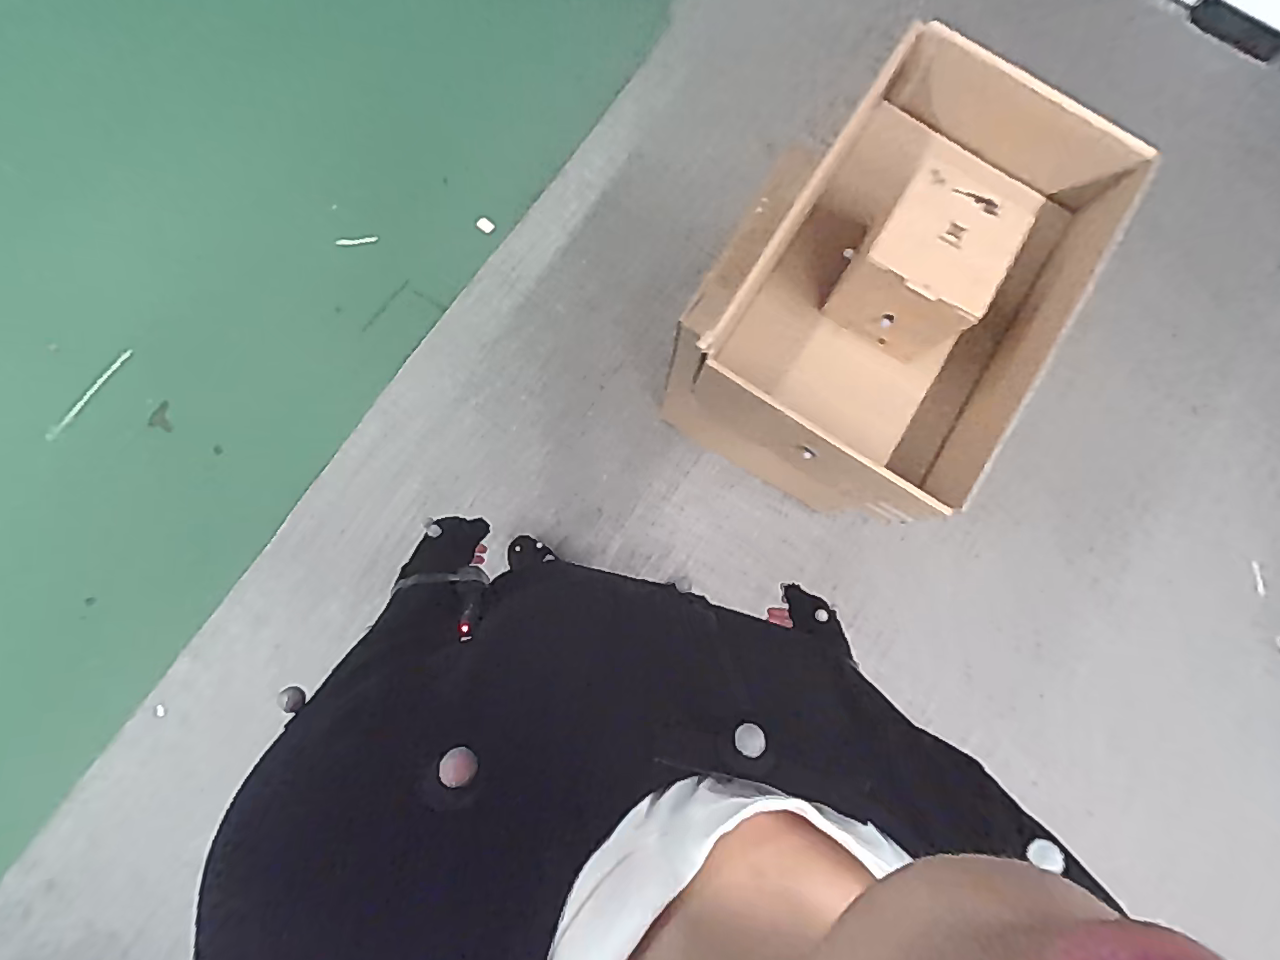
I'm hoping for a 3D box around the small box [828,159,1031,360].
[{"bbox_3d":[0.399,-0.303,0.783,0.168,0.176,0.179,33,83,2],"label":"small box"}]
